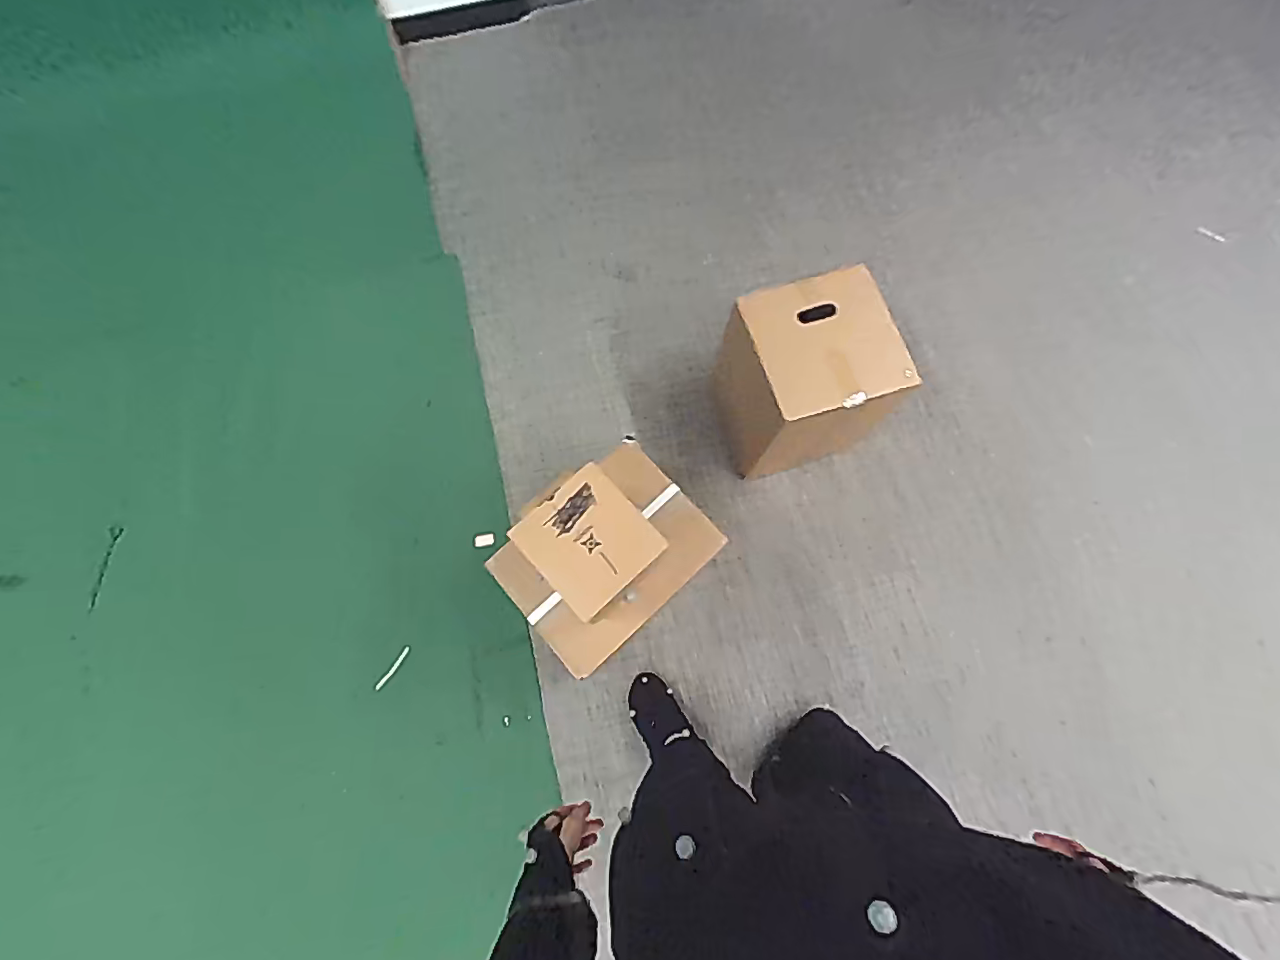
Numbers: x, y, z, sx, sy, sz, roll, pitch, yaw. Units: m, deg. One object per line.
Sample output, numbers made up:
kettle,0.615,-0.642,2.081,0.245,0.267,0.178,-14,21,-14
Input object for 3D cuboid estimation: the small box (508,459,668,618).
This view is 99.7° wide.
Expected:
small box,-0.076,0.101,0.849,0.168,0.176,0.179,-42,79,-10
